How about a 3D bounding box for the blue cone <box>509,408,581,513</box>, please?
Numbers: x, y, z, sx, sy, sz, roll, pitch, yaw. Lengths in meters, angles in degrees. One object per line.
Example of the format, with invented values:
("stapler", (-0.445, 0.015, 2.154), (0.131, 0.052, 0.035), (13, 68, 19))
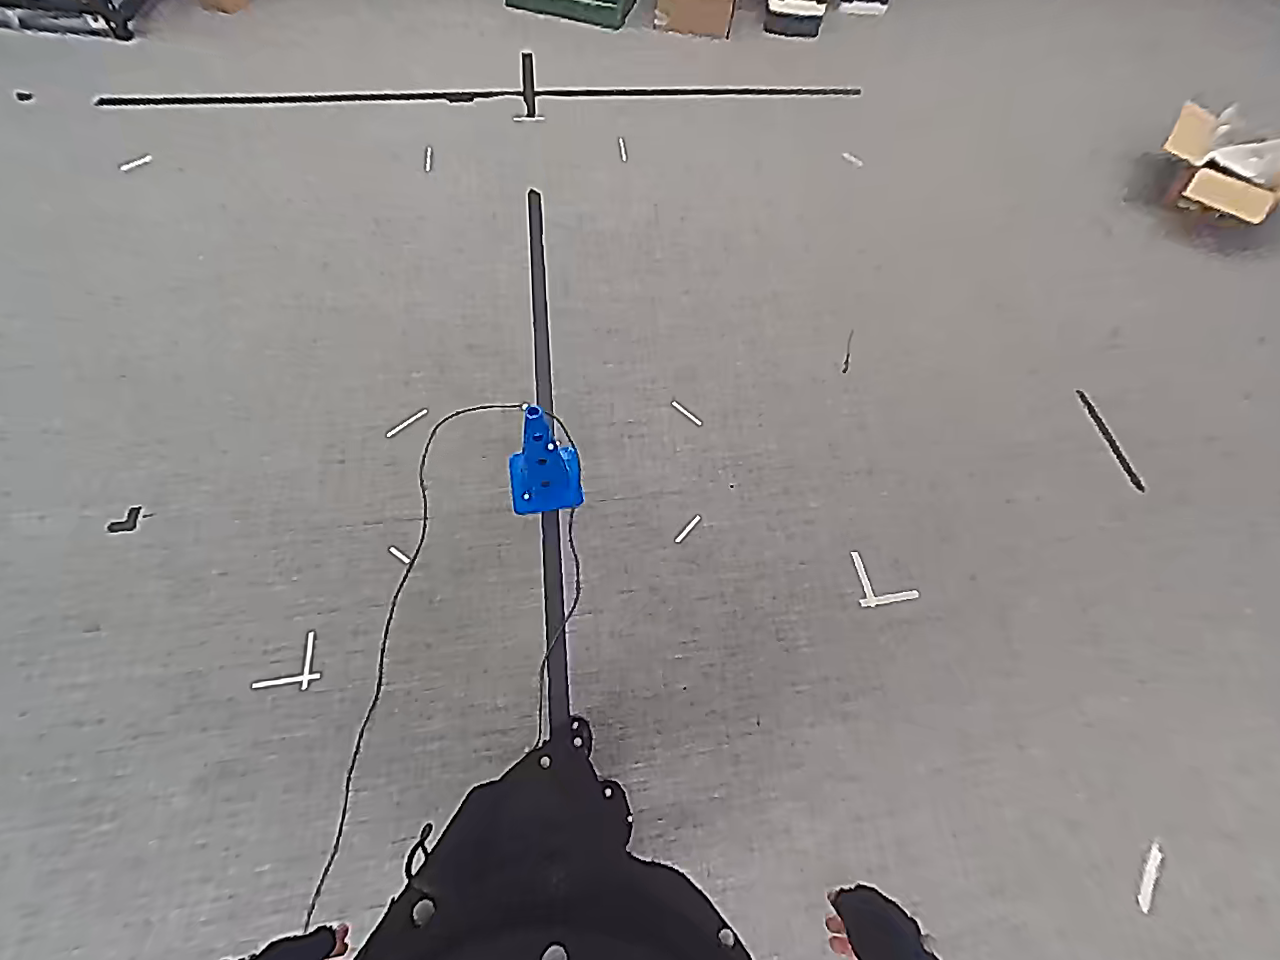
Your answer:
("blue cone", (-0.260, -0.075, 1.410), (0.192, 0.380, 0.193), (-10, 65, -10))
